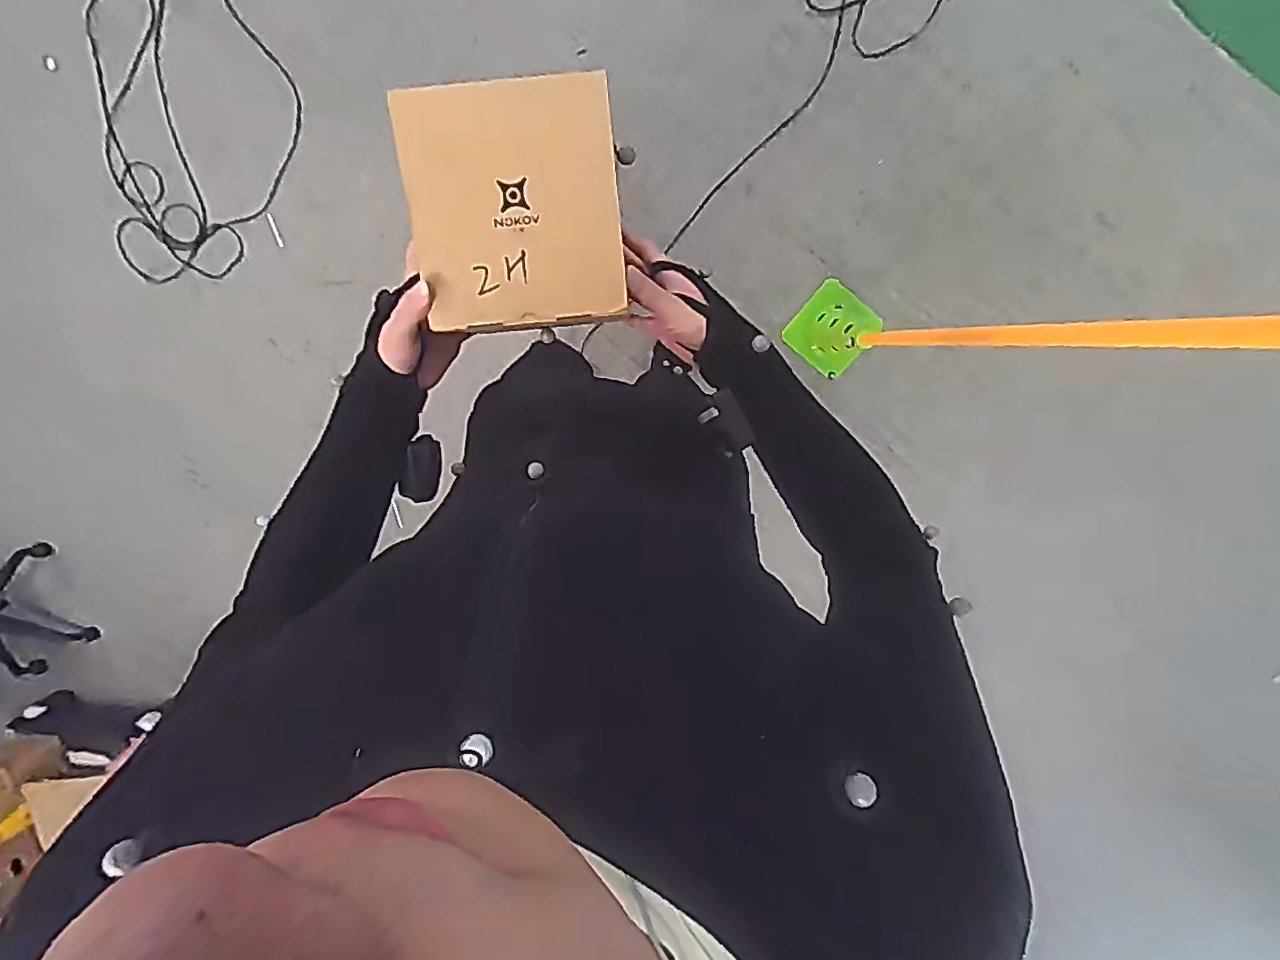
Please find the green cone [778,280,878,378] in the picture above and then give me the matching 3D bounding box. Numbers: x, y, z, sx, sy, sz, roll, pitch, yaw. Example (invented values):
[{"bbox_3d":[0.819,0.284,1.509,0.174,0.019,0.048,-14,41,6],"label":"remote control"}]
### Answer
[{"bbox_3d":[0.486,-0.355,1.301,0.202,0.368,0.200,38,108,-5],"label":"green cone"}]
